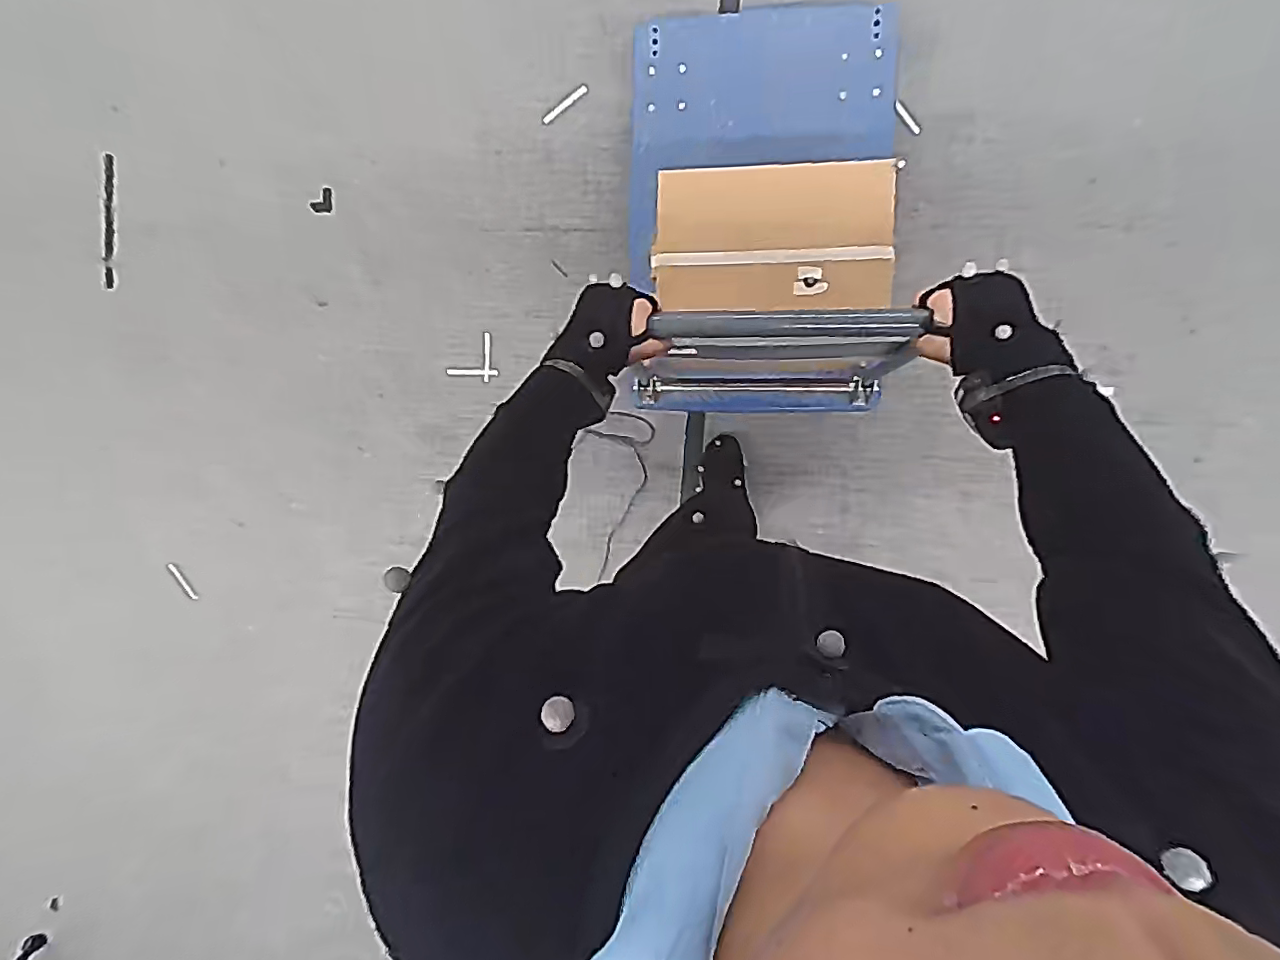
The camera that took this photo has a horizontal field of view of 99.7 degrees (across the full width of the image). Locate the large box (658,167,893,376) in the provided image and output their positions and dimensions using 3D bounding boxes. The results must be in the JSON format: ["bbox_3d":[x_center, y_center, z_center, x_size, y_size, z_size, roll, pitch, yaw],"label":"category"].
[{"bbox_3d":[0.247,-0.388,1.093,0.408,0.320,0.320,1,94,7],"label":"large box"}]
